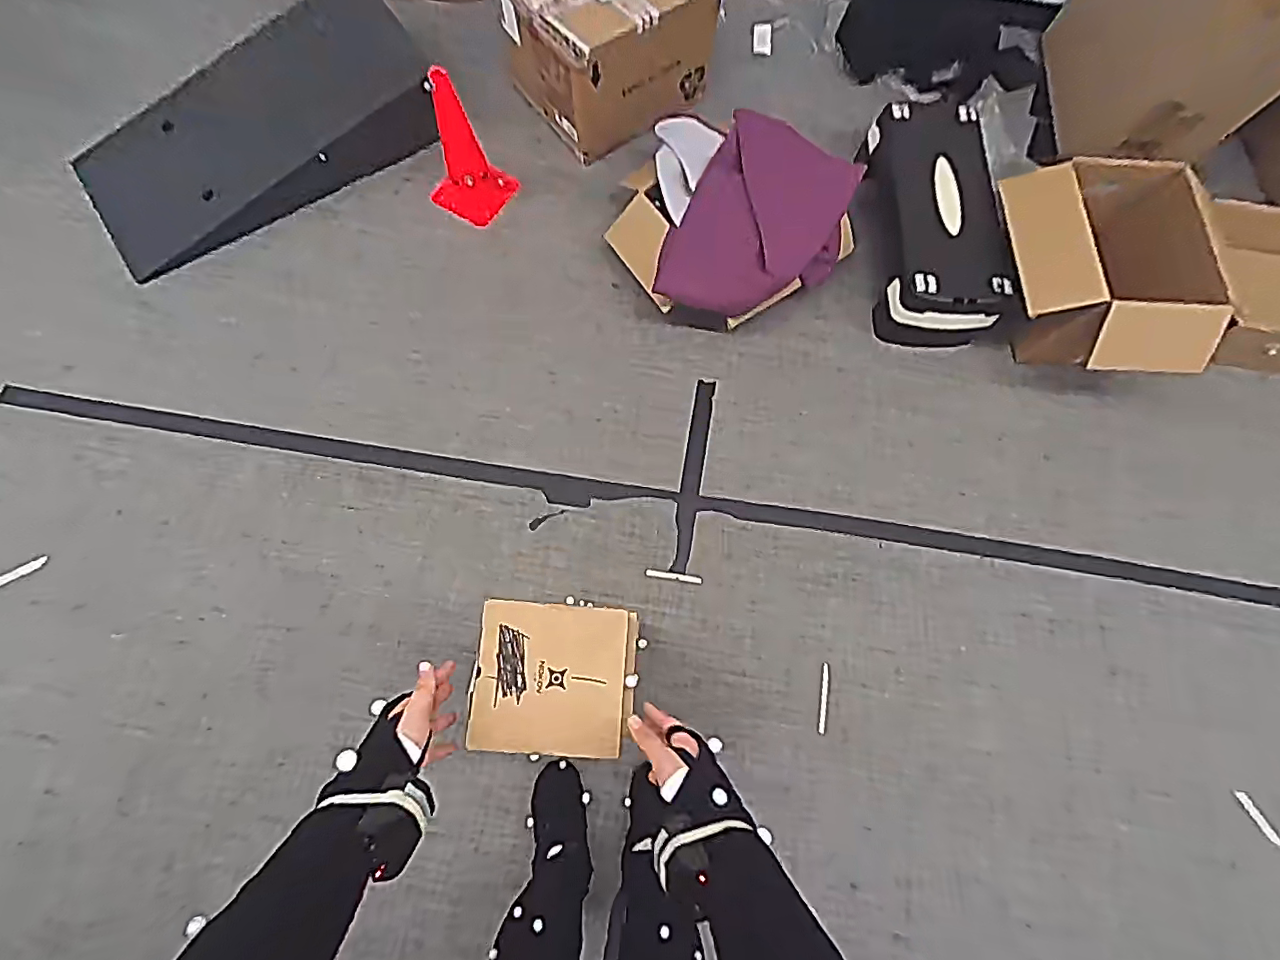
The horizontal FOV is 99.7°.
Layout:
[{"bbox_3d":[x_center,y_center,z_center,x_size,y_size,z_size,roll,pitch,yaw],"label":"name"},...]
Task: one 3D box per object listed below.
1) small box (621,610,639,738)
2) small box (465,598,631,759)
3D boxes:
[{"bbox_3d":[-0.090,0.296,0.856,0.168,0.176,0.179,3,74,0],"label":"small box"},{"bbox_3d":[-0.105,0.249,0.698,0.179,0.176,0.168,4,74,-1],"label":"small box"}]
